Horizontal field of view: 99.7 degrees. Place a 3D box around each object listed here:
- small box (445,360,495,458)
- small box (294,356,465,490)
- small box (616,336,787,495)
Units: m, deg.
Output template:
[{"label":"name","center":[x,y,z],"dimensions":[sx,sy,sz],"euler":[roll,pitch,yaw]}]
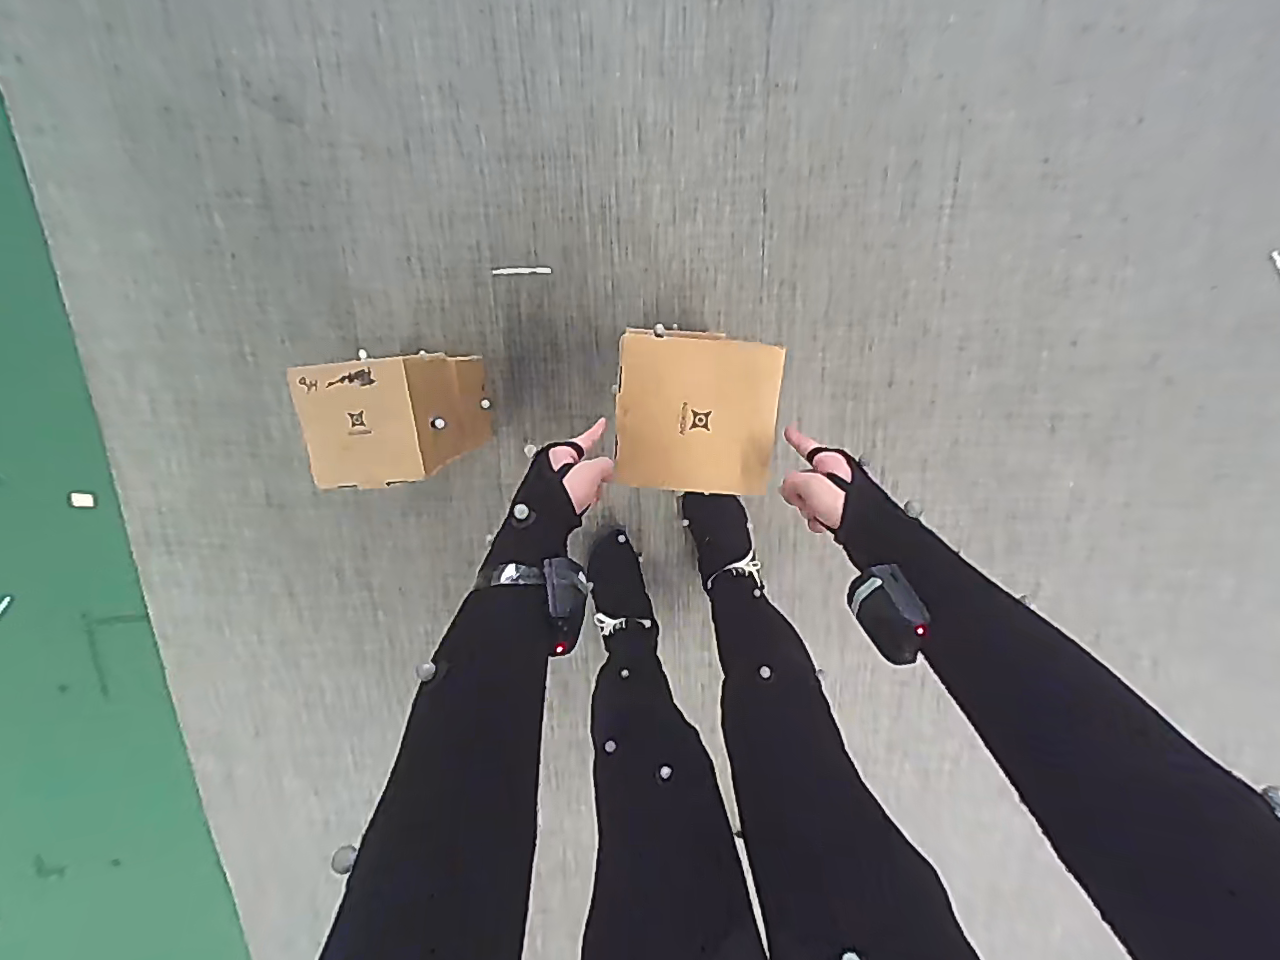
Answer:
[{"label":"small box","center":[-0.383,-0.134,0.998],"dimensions":[0.179,0.176,0.168],"euler":[-3,104,0]},{"label":"small box","center":[-0.387,-0.095,0.839],"dimensions":[0.168,0.176,0.179],"euler":[-5,105,1]},{"label":"small box","center":[0.064,-0.088,0.671],"dimensions":[0.179,0.176,0.168],"euler":[4,105,-1]}]
